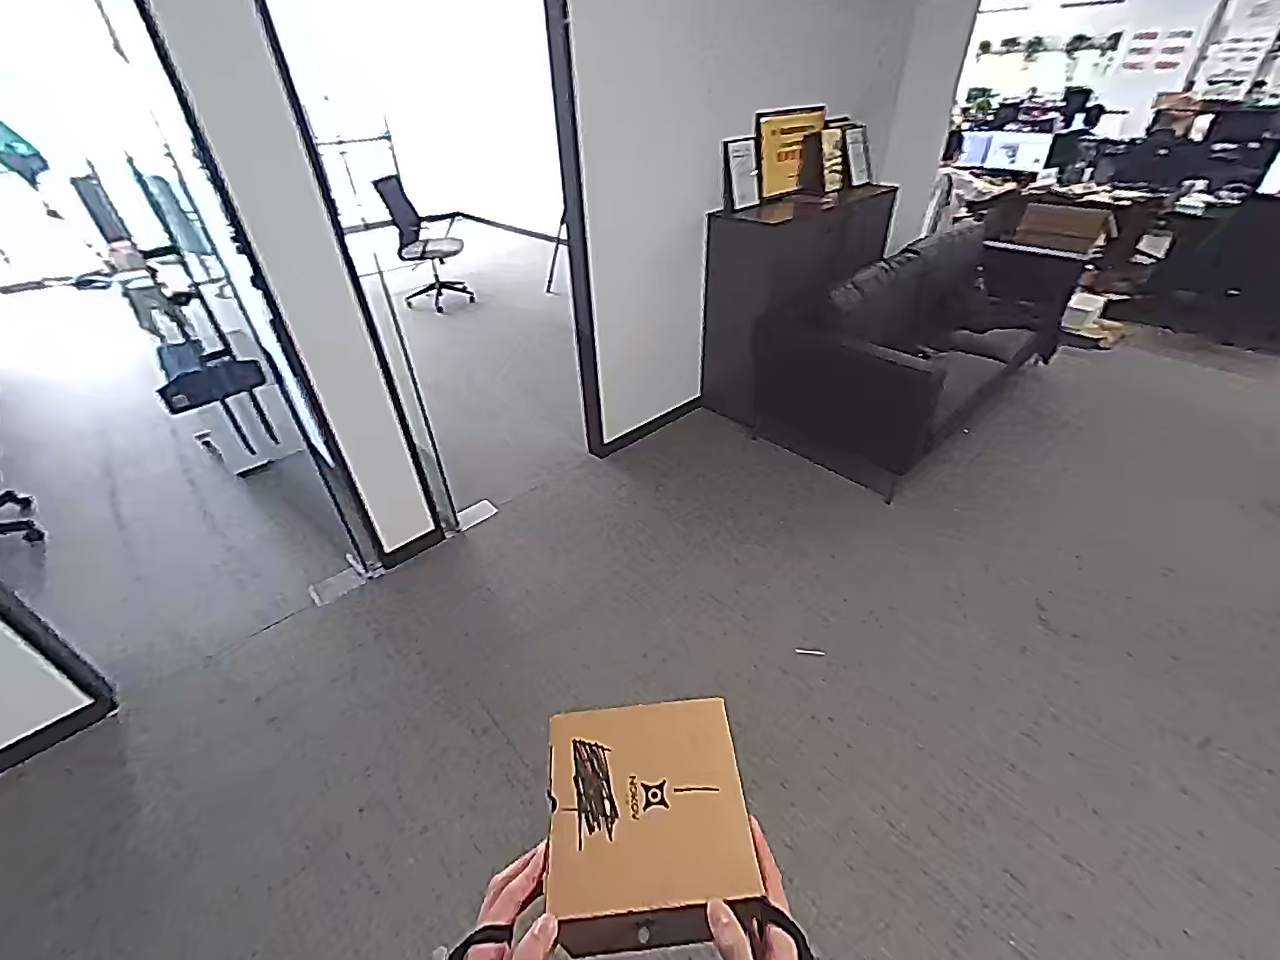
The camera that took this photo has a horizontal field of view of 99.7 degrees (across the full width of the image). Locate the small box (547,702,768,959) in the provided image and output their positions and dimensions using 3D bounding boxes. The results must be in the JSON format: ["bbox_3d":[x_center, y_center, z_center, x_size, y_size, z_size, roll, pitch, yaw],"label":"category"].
[{"bbox_3d":[0.012,0.342,0.527,0.179,0.176,0.168,-5,41,-3],"label":"small box"}]
